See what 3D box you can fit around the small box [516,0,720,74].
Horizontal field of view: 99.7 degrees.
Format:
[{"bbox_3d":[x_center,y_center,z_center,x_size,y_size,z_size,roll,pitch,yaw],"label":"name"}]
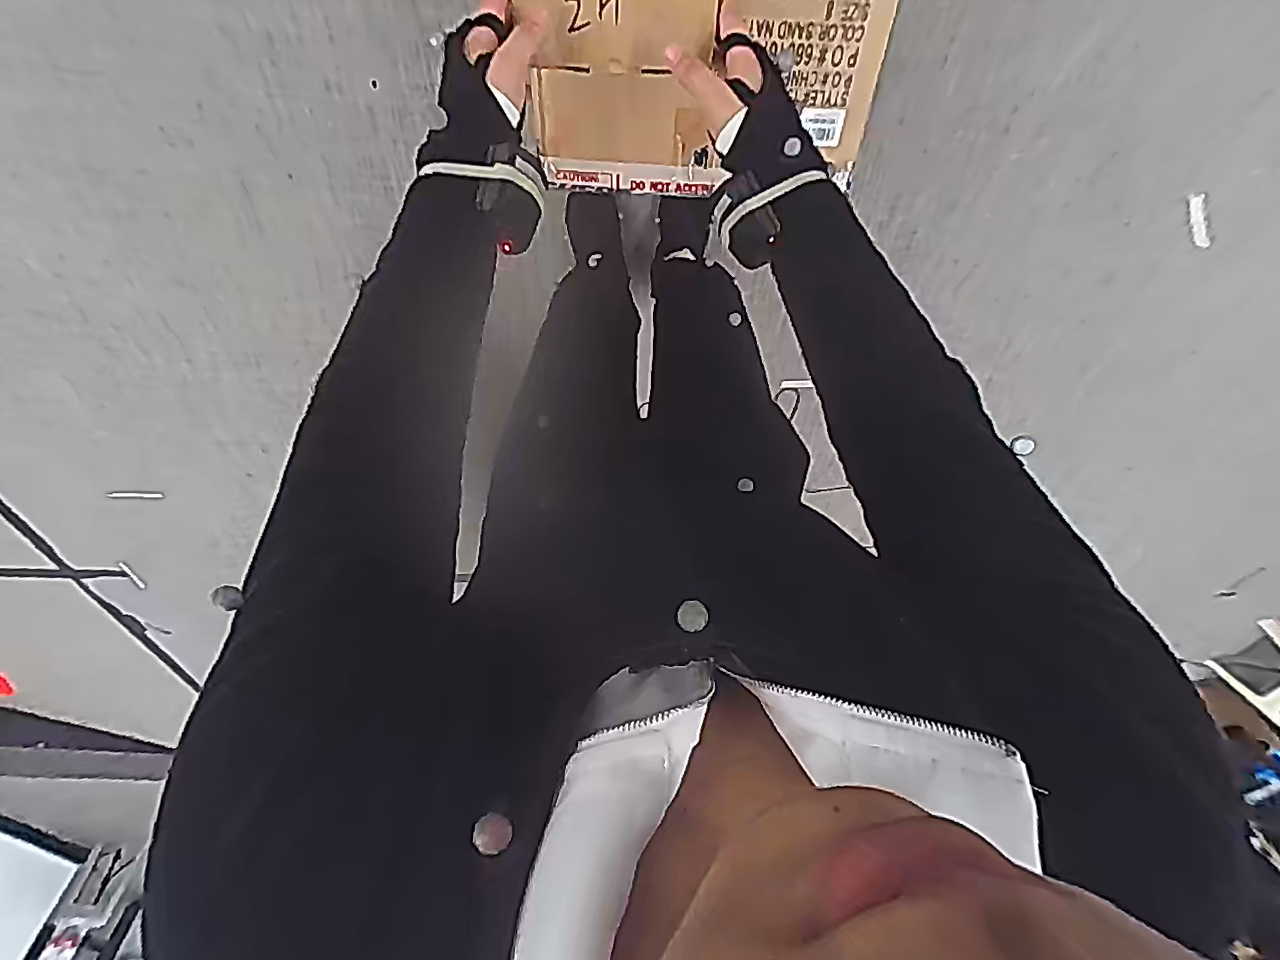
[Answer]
[{"bbox_3d":[-0.018,-0.466,0.457,0.168,0.176,0.179,1,135,-1],"label":"small box"}]
